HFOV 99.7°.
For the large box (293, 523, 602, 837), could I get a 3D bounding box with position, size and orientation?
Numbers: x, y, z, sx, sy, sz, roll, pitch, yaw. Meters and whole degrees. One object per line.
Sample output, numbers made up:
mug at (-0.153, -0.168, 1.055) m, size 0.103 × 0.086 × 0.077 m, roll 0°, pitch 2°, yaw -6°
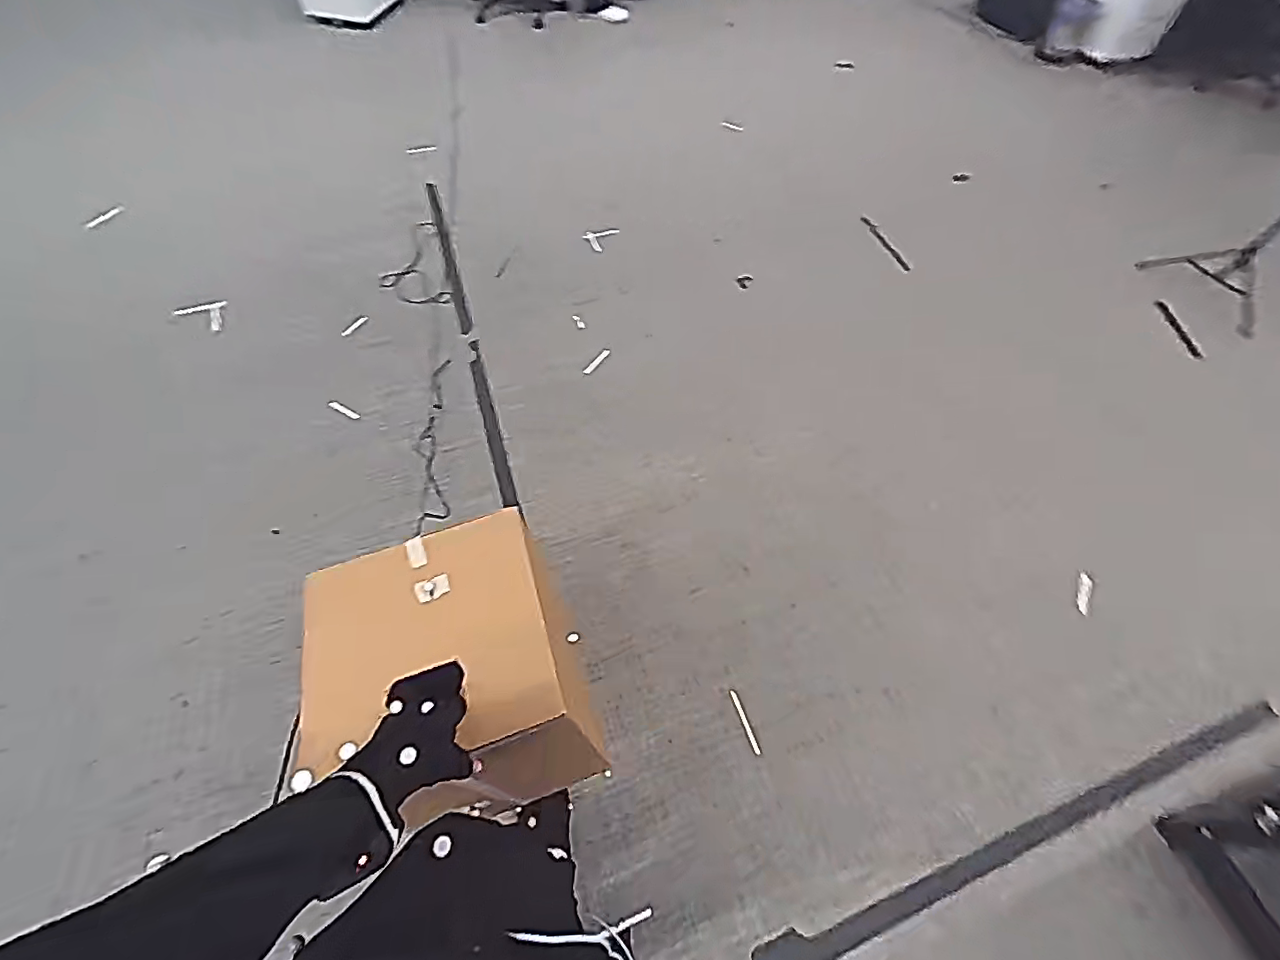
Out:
large box at (-0.281, 0.331, 0.861) m, size 0.320 × 0.408 × 0.320 m, roll -19°, pitch 55°, yaw -7°
